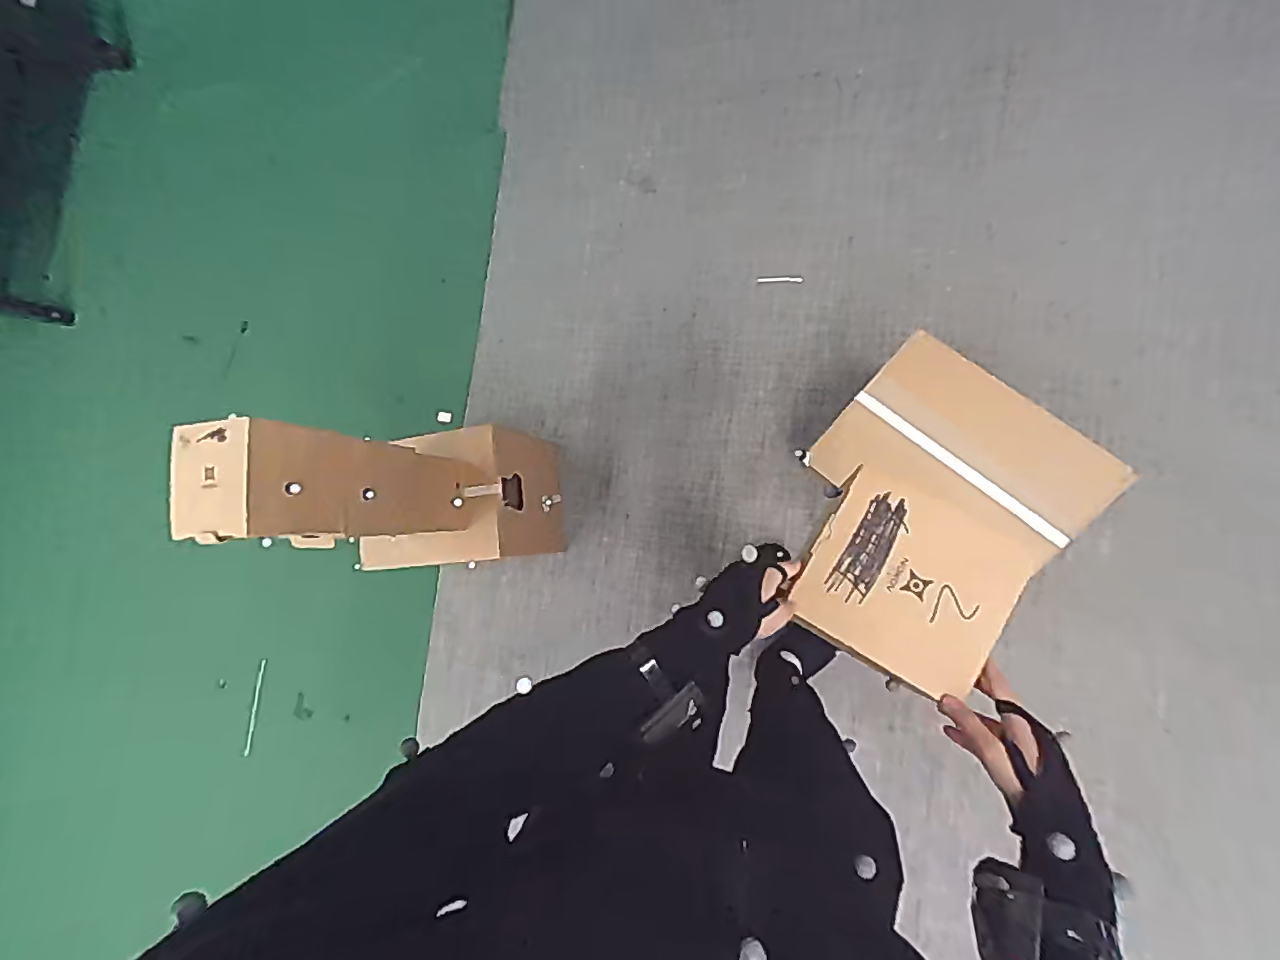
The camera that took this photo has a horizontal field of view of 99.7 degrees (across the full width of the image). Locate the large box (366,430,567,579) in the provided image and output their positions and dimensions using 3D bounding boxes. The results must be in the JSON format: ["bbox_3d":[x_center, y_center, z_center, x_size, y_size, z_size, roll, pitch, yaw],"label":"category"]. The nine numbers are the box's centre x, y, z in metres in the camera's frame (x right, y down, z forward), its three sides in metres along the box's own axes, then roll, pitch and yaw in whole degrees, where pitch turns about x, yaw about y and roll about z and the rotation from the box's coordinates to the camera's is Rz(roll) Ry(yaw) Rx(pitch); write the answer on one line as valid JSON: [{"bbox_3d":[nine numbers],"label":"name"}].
[{"bbox_3d":[-0.447,0.077,1.424,0.408,0.320,0.320,-8,81,19],"label":"large box"}]

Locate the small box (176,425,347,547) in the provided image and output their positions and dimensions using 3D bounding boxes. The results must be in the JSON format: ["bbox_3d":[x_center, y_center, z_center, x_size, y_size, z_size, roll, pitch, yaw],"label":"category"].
[{"bbox_3d":[-0.603,0.014,0.875,0.168,0.176,0.179,-4,85,18],"label":"small box"}]

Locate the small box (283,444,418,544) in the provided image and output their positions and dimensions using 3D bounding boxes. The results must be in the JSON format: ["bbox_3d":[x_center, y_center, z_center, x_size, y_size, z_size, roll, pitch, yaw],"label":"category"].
[{"bbox_3d":[-0.545,0.030,1.028,0.168,0.176,0.179,-3,85,19],"label":"small box"}]

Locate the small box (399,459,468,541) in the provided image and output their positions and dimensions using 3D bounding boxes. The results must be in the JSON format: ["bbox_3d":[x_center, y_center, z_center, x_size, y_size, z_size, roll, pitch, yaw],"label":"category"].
[{"bbox_3d":[-0.502,0.050,1.185,0.179,0.176,0.168,-4,85,18],"label":"small box"}]
